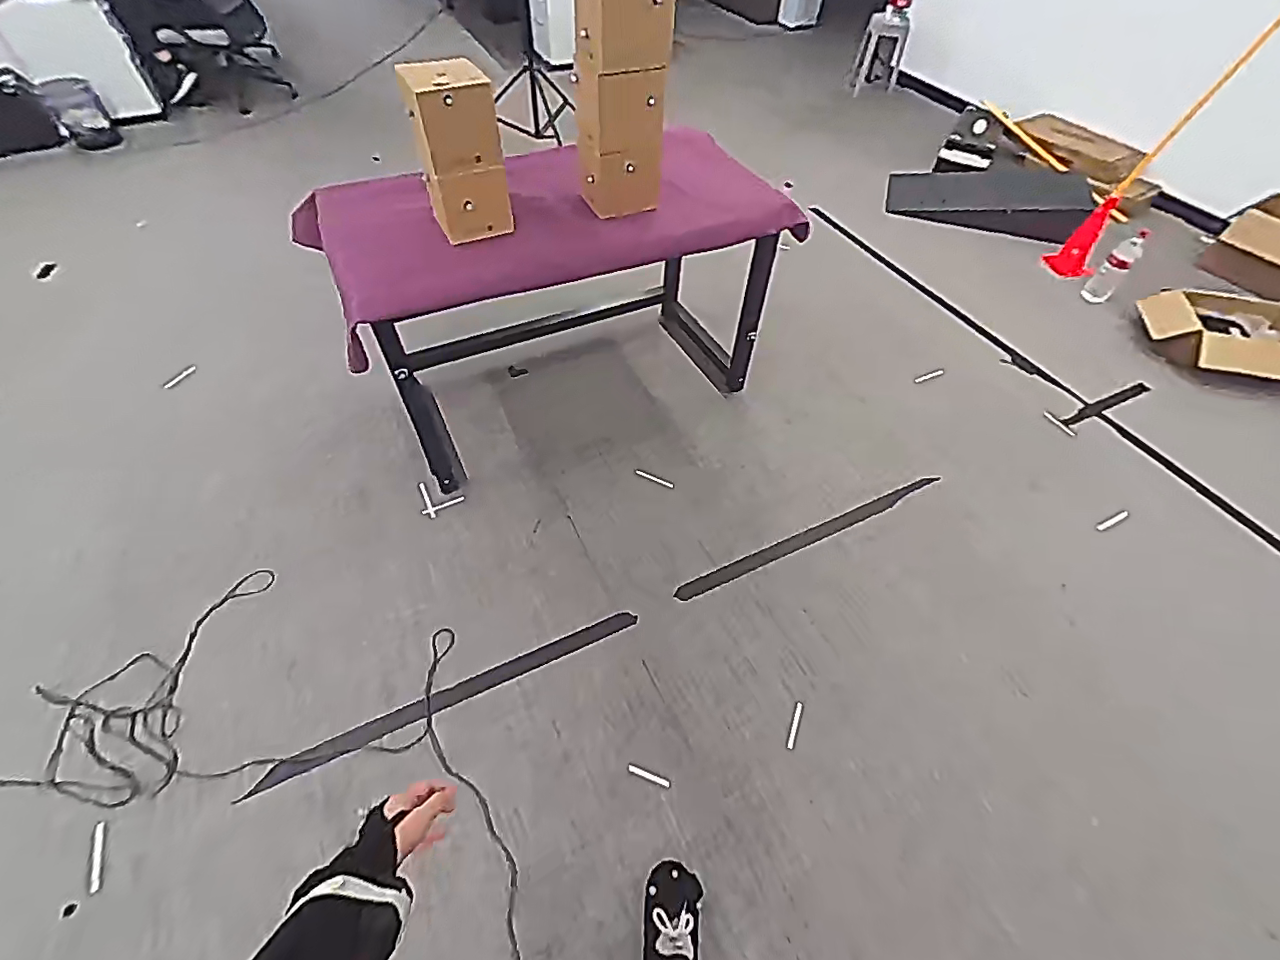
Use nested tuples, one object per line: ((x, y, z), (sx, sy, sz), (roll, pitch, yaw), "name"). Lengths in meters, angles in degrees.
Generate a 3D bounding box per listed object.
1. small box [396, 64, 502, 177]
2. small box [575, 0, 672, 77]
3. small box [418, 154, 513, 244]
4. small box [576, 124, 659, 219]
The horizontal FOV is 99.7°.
((-0.434, -0.825, 1.243), (0.168, 0.176, 0.179), (-24, 56, -18), "small box")
((-0.041, -1.033, 1.207), (0.179, 0.176, 0.168), (-20, 56, -16), "small box")
((-0.436, -0.720, 1.369), (0.168, 0.176, 0.179), (-22, 56, -17), "small box")
((-0.061, -0.833, 1.469), (0.179, 0.176, 0.168), (-19, 57, -17), "small box")
